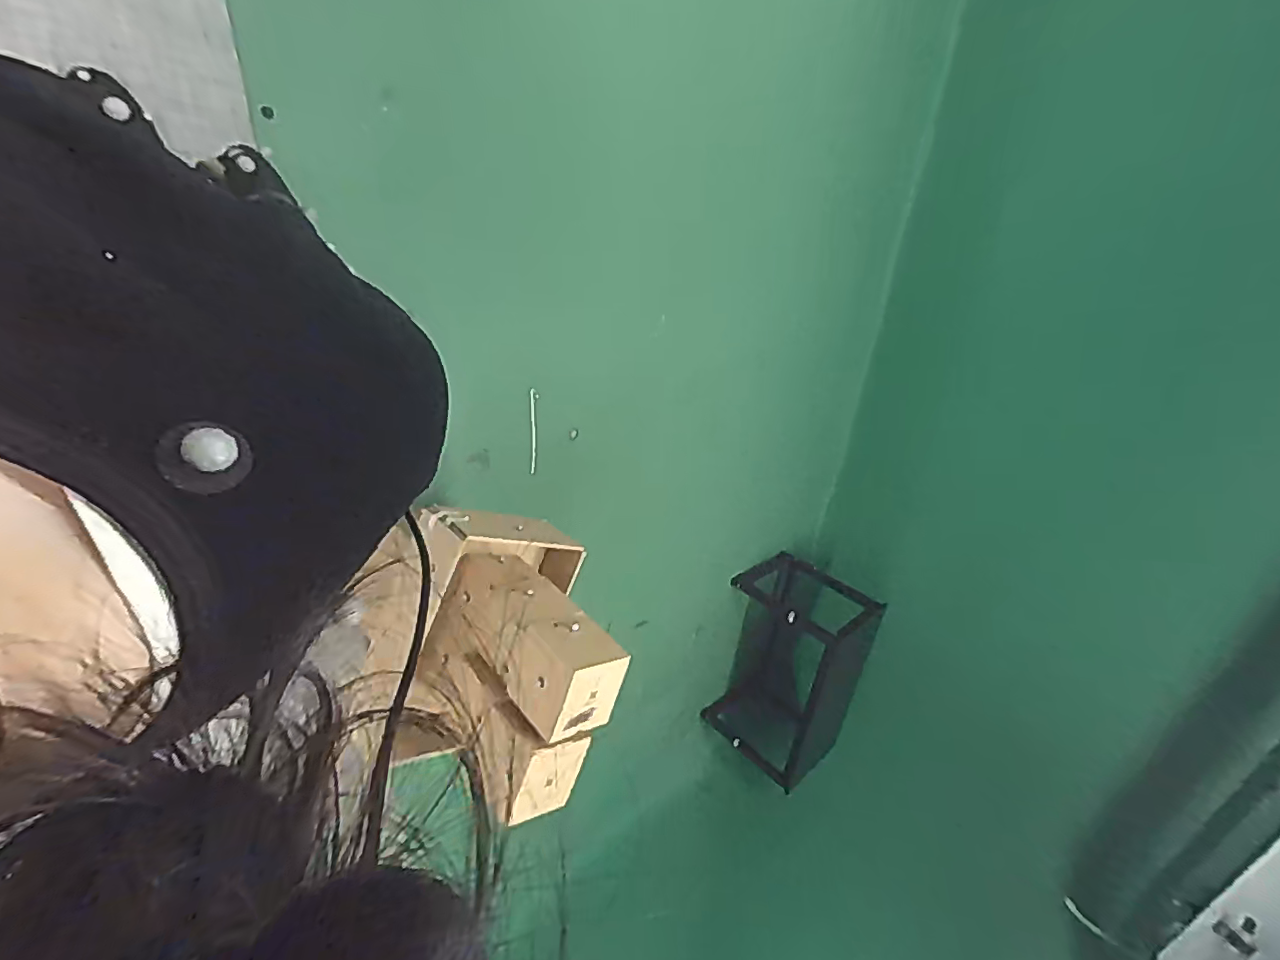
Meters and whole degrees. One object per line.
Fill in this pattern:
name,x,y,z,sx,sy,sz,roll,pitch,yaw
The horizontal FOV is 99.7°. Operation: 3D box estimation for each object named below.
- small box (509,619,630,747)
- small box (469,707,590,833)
small box,-0.155,0.422,1.153,0.168,0.176,0.179,5,108,-49
small box,-0.244,0.609,1.175,0.168,0.176,0.179,16,97,-49
